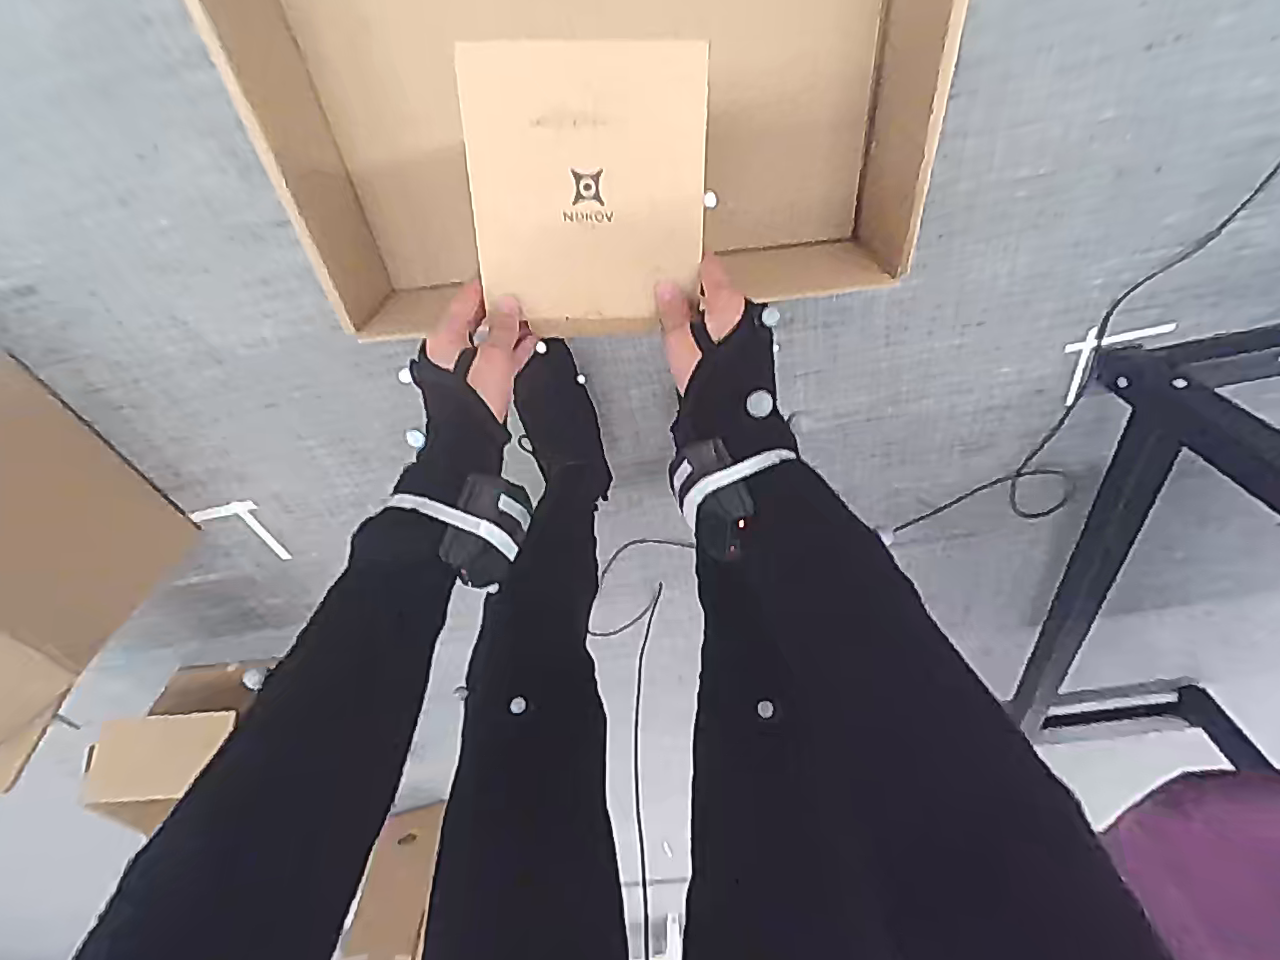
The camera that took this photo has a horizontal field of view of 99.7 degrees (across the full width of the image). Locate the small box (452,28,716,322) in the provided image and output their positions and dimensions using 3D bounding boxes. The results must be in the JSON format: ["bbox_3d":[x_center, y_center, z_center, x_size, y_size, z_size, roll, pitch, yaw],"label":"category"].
[{"bbox_3d":[-0.036,-0.233,0.439,0.168,0.176,0.179,-1,116,-1],"label":"small box"}]
